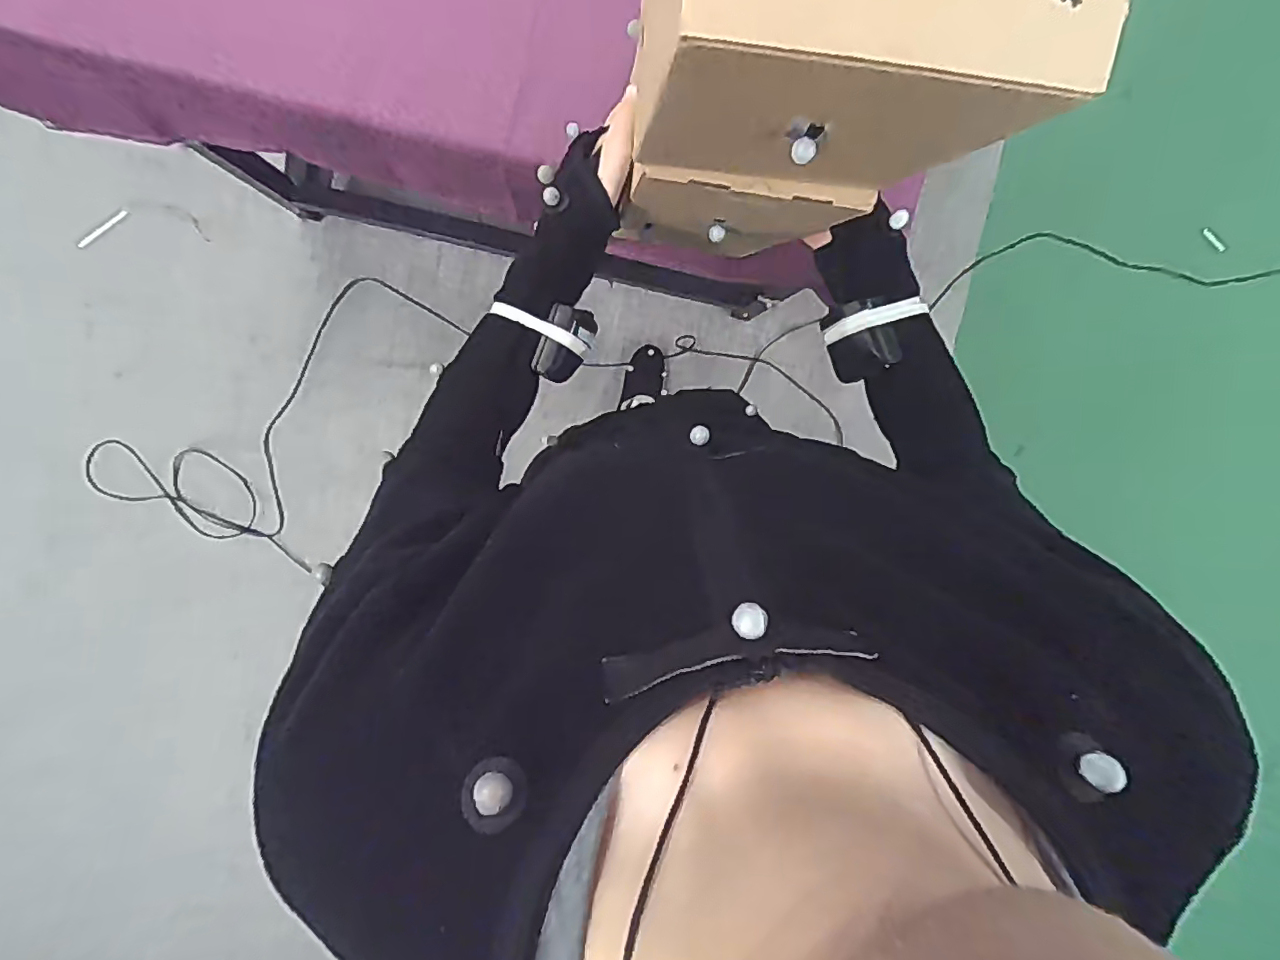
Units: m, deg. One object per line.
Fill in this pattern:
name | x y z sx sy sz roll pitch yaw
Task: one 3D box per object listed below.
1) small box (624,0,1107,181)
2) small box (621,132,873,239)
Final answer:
small box | 0.091 -0.258 0.260 0.179 0.176 0.168 3 106 -7
small box | 0.079 -0.302 0.418 0.168 0.176 0.179 5 106 -8
